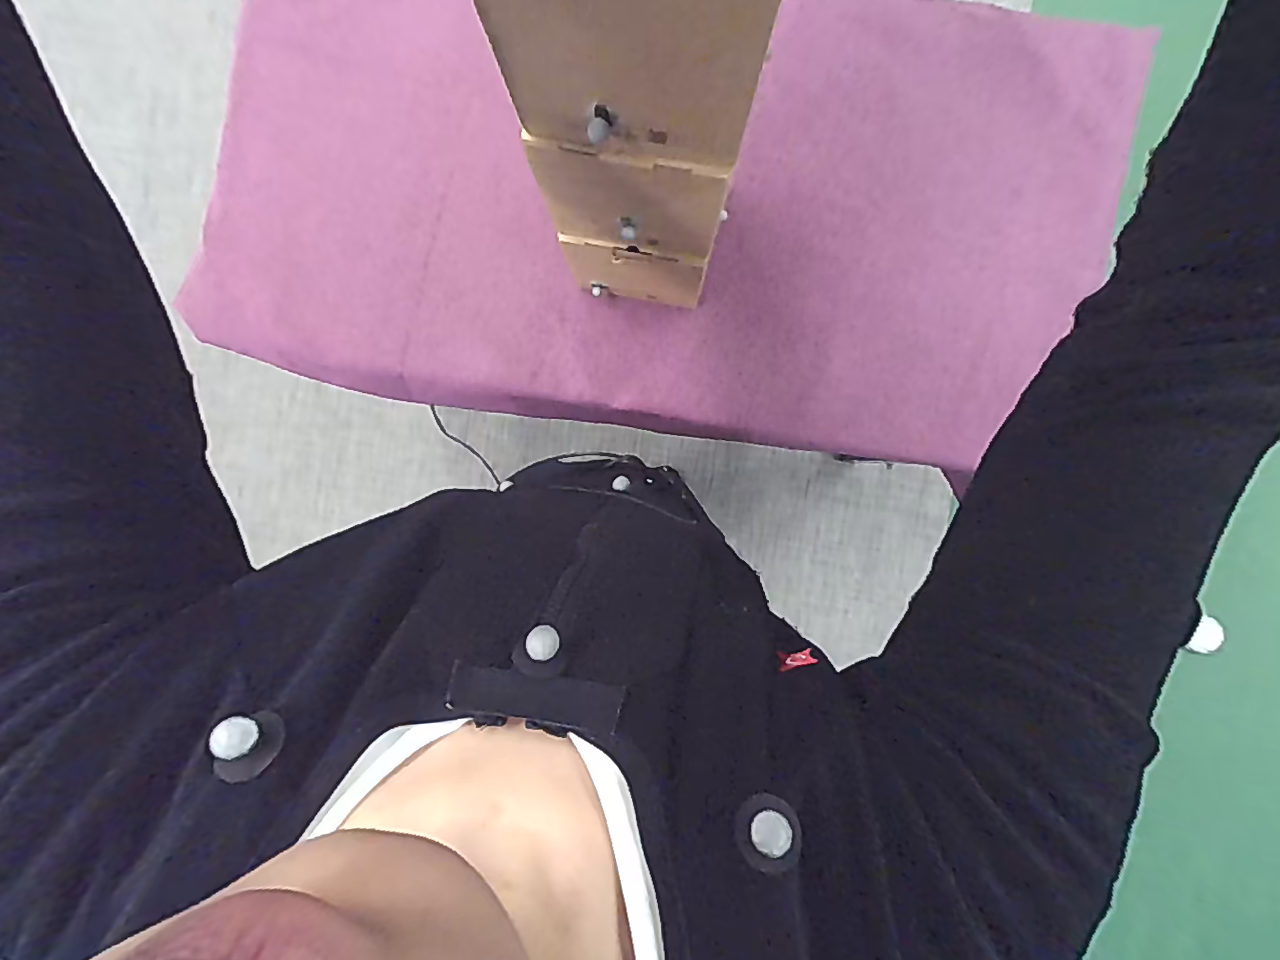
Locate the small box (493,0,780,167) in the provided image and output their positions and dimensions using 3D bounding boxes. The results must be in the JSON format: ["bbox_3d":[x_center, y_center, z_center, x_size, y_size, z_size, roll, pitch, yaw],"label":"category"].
[{"bbox_3d":[0.005,-0.336,0.334,0.168,0.176,0.179,10,92,1],"label":"small box"}]

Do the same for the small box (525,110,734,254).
[{"bbox_3d":[0.007,-0.337,0.496,0.168,0.176,0.179,11,92,1],"label":"small box"}]

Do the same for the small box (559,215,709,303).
[{"bbox_3d":[0.009,-0.334,0.661,0.168,0.176,0.179,11,91,1],"label":"small box"}]
